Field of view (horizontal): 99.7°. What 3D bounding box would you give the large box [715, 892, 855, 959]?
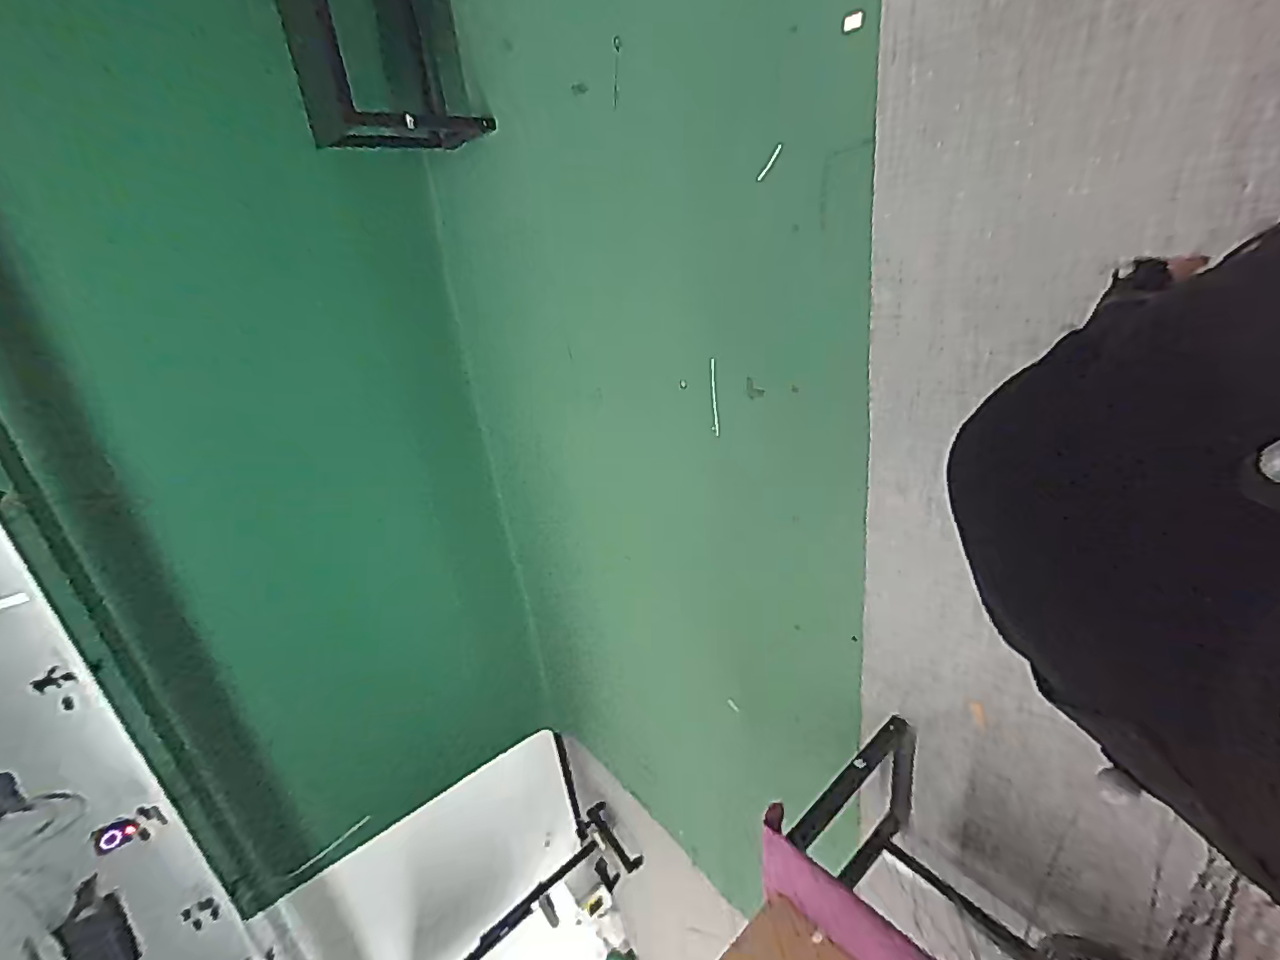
[{"bbox_3d":[0.397,1.447,1.439,0.320,0.320,0.408,17,121,47],"label":"large box"}]
